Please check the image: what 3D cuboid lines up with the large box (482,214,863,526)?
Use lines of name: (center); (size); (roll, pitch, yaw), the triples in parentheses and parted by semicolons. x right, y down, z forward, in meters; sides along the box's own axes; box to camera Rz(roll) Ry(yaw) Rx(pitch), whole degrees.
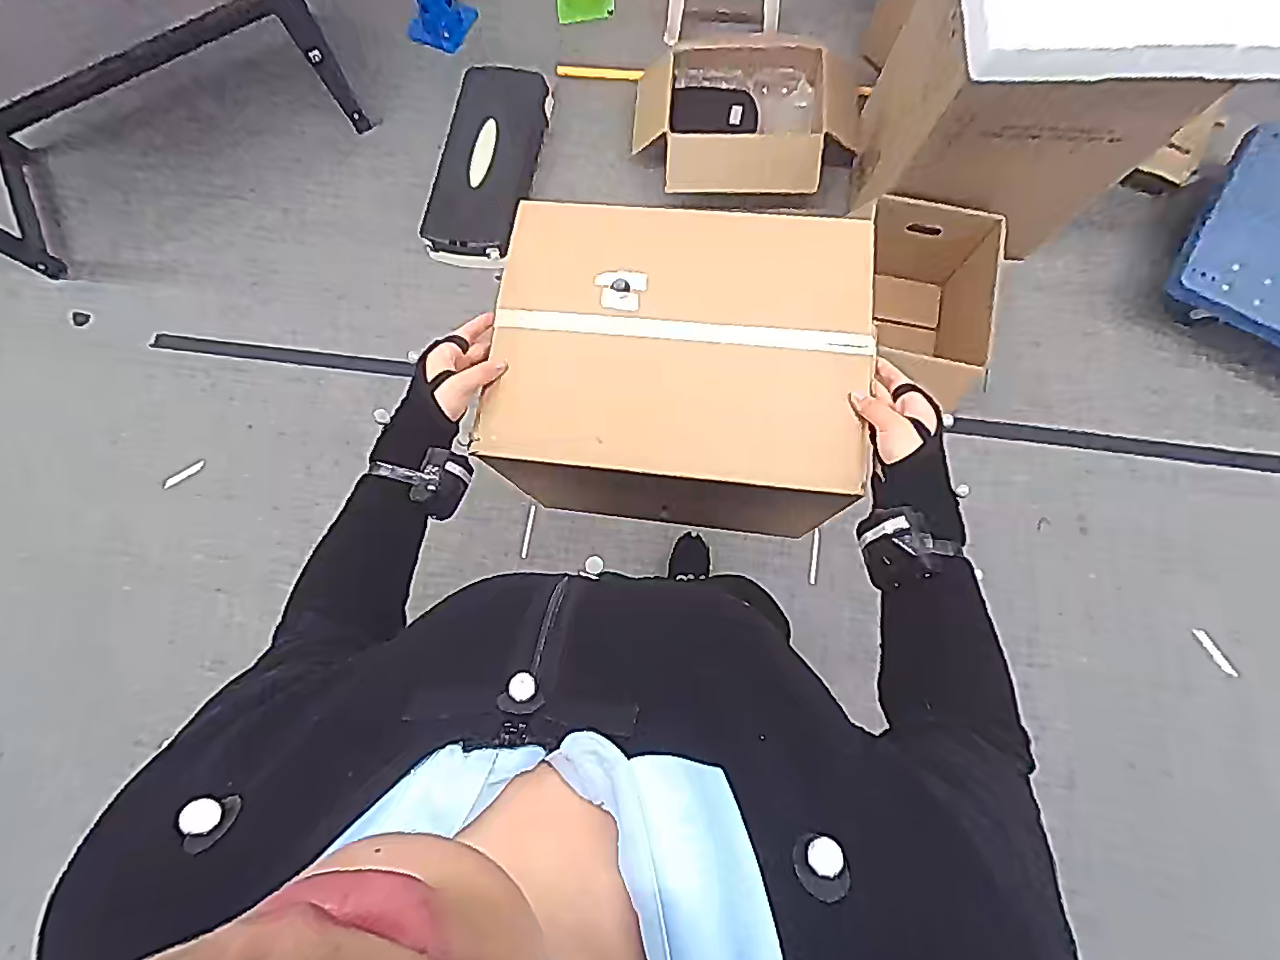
large box: (0.054, -0.123, 0.738); (0.408, 0.320, 0.320); (5, 75, 6)
